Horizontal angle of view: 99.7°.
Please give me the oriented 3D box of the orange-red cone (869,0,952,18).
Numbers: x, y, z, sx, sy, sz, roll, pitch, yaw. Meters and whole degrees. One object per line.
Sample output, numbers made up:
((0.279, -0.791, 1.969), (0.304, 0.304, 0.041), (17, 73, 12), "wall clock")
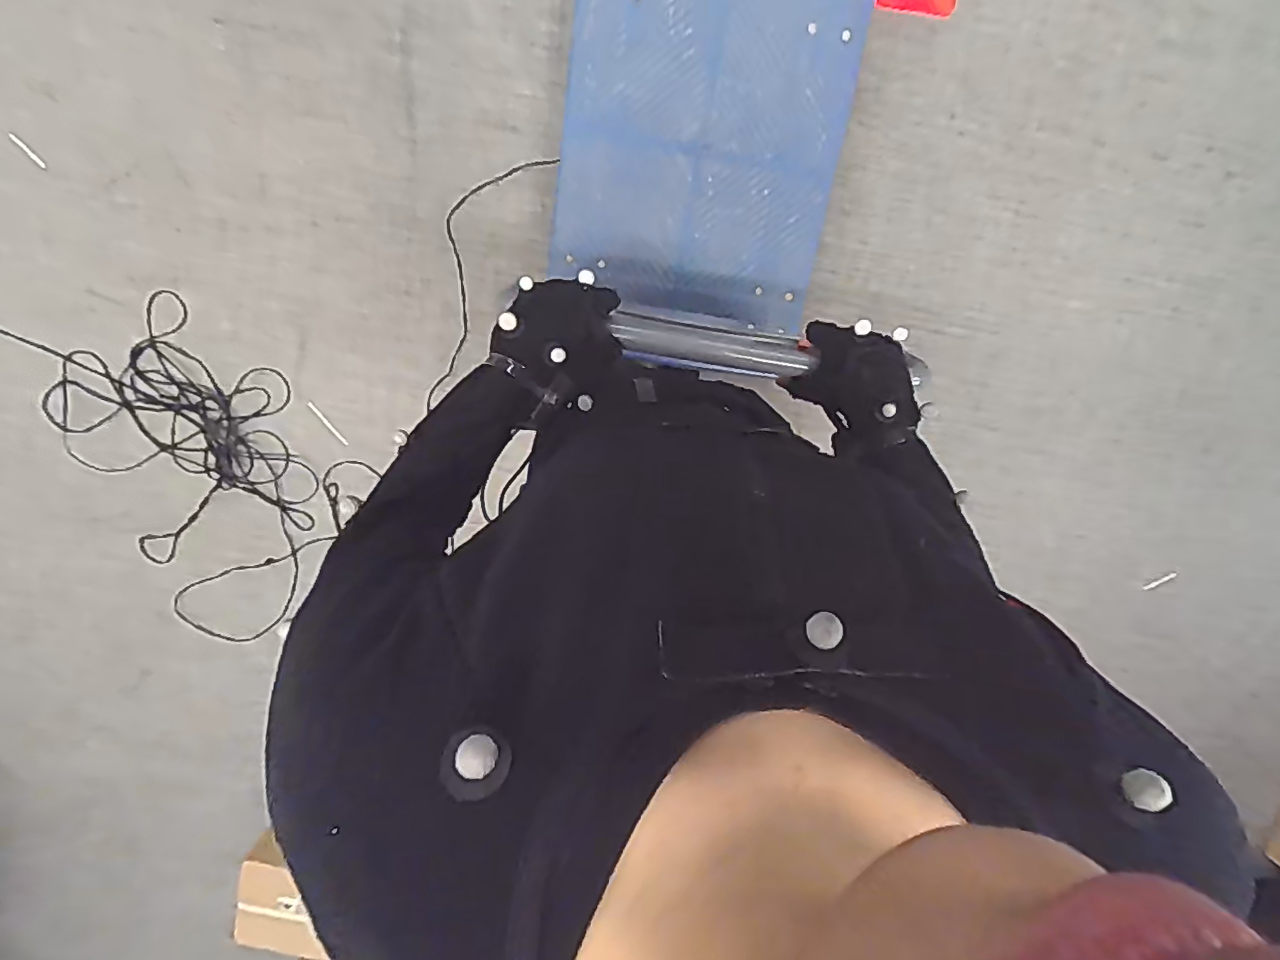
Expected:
((0.611, -1.107, 1.031), (0.199, 0.360, 0.198), (9, 104, -1), "orange-red cone")
